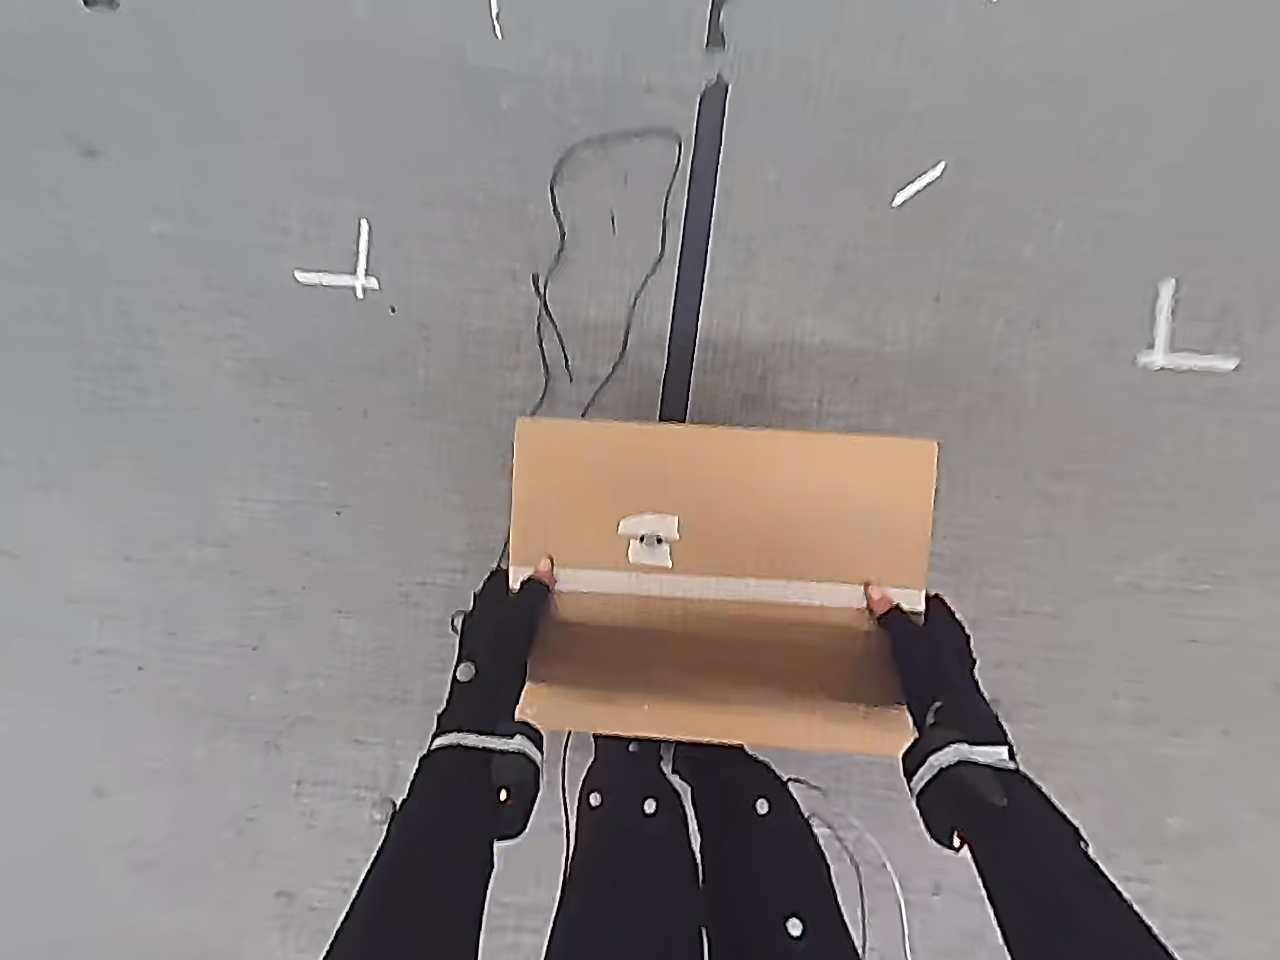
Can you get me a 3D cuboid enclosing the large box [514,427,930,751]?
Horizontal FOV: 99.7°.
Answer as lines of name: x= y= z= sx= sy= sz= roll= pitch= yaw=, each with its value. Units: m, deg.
large box: x=0.084 y=0.098 z=0.683 sx=0.408 sy=0.320 sz=0.320 roll=3 pitch=93 yaw=3
